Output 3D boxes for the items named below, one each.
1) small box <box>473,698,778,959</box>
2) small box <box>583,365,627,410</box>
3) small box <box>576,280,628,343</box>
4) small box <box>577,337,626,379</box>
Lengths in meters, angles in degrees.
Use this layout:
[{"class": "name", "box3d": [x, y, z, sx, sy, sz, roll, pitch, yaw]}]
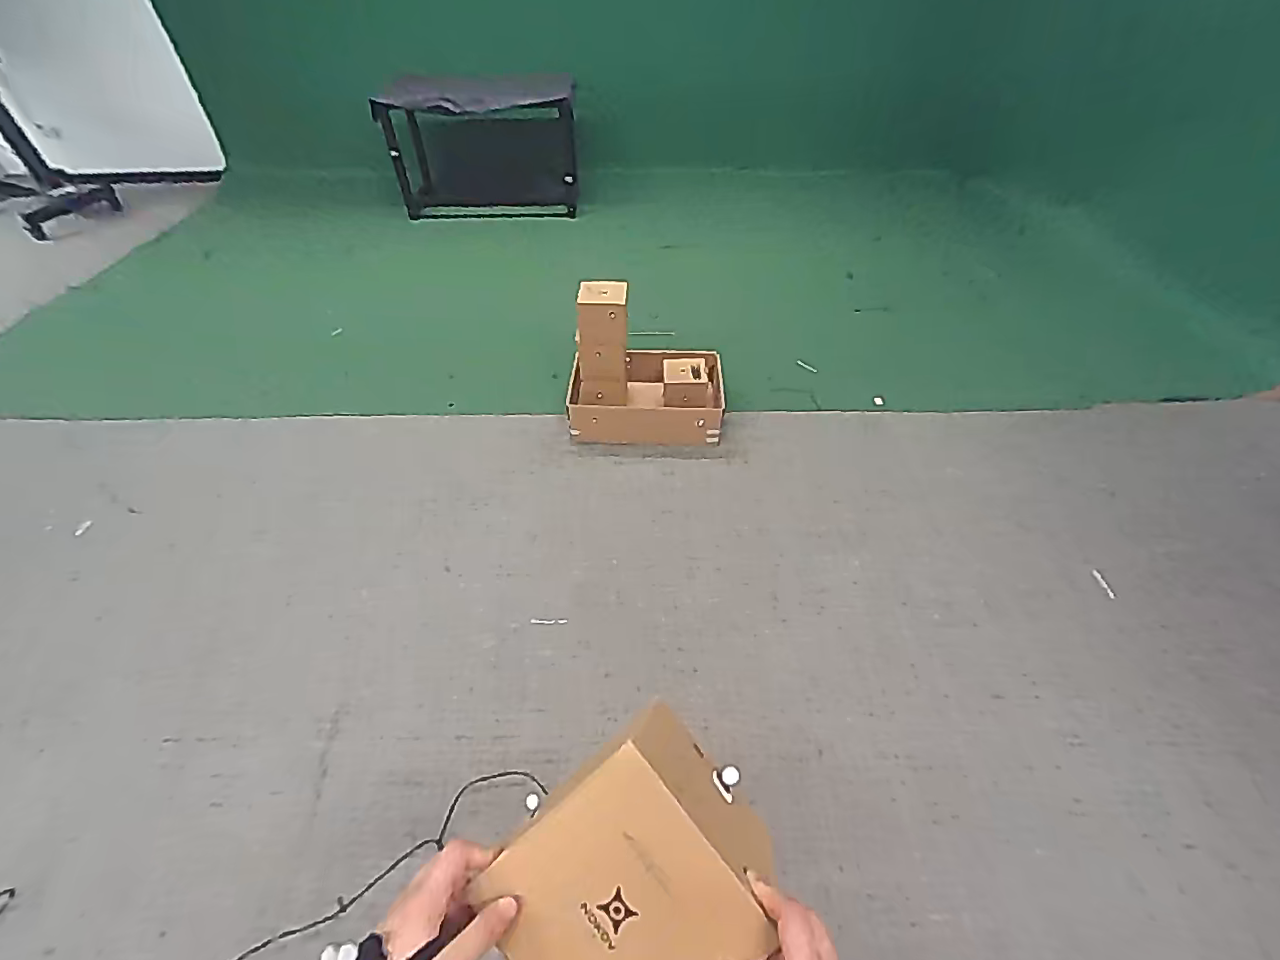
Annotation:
[{"class": "small box", "box3d": [-0.002, 0.326, 0.474, 0.179, 0.176, 0.168, -43, 77, 0]}, {"class": "small box", "box3d": [-0.140, -0.407, 2.258, 0.168, 0.176, 0.179, 1, 47, 1]}, {"class": "small box", "box3d": [-0.136, -0.623, 2.009, 0.179, 0.176, 0.168, 1, 46, 1]}, {"class": "small box", "box3d": [-0.146, -0.512, 2.132, 0.179, 0.176, 0.168, 2, 48, 1]}]
